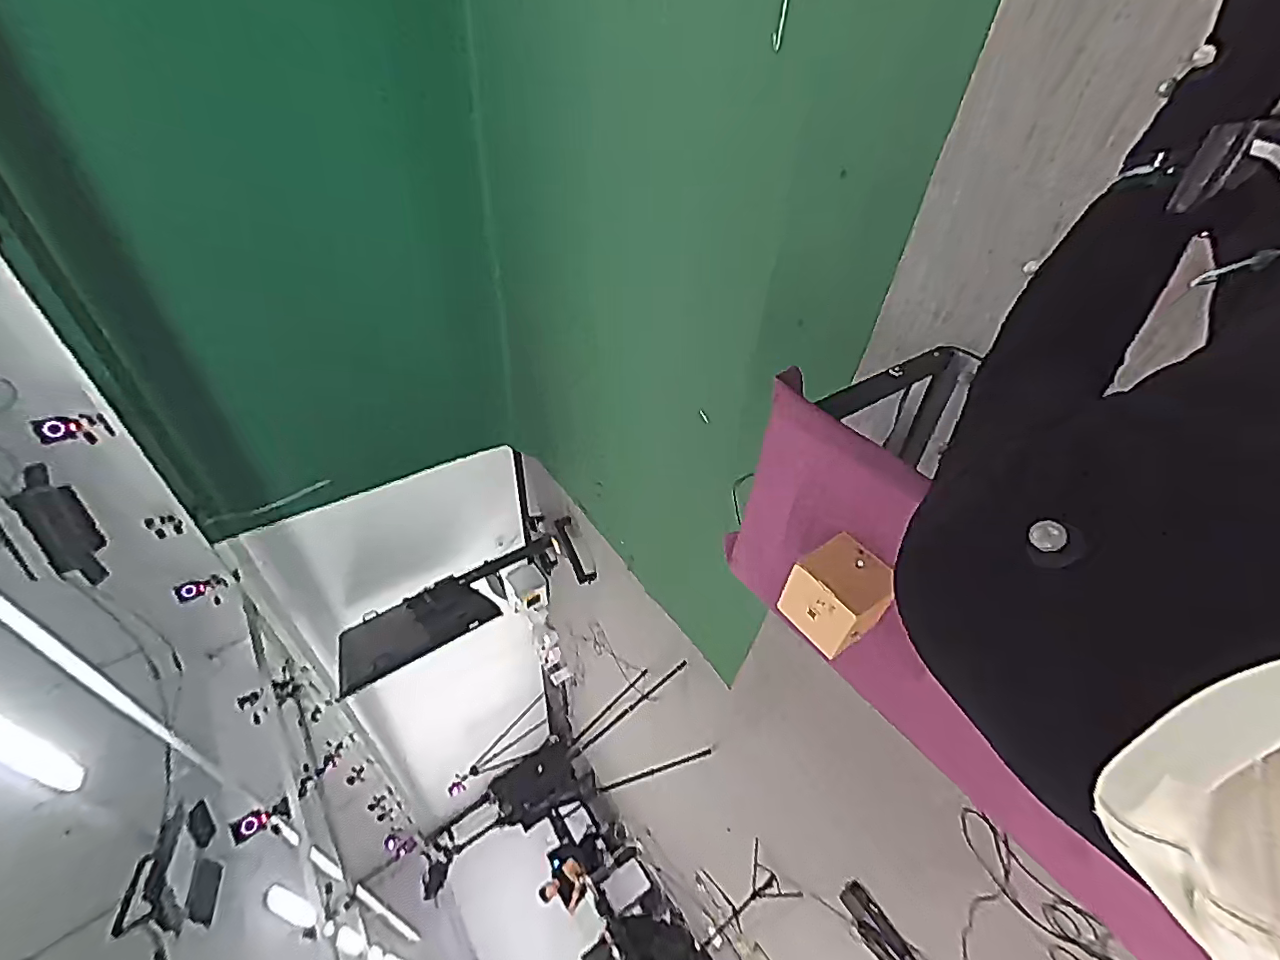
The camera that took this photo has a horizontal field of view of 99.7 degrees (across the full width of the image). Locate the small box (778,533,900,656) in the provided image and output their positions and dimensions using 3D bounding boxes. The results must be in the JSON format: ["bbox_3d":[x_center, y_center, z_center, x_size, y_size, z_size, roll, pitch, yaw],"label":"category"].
[{"bbox_3d":[0.443,0.252,1.210,0.168,0.176,0.179,45,145,33],"label":"small box"}]
